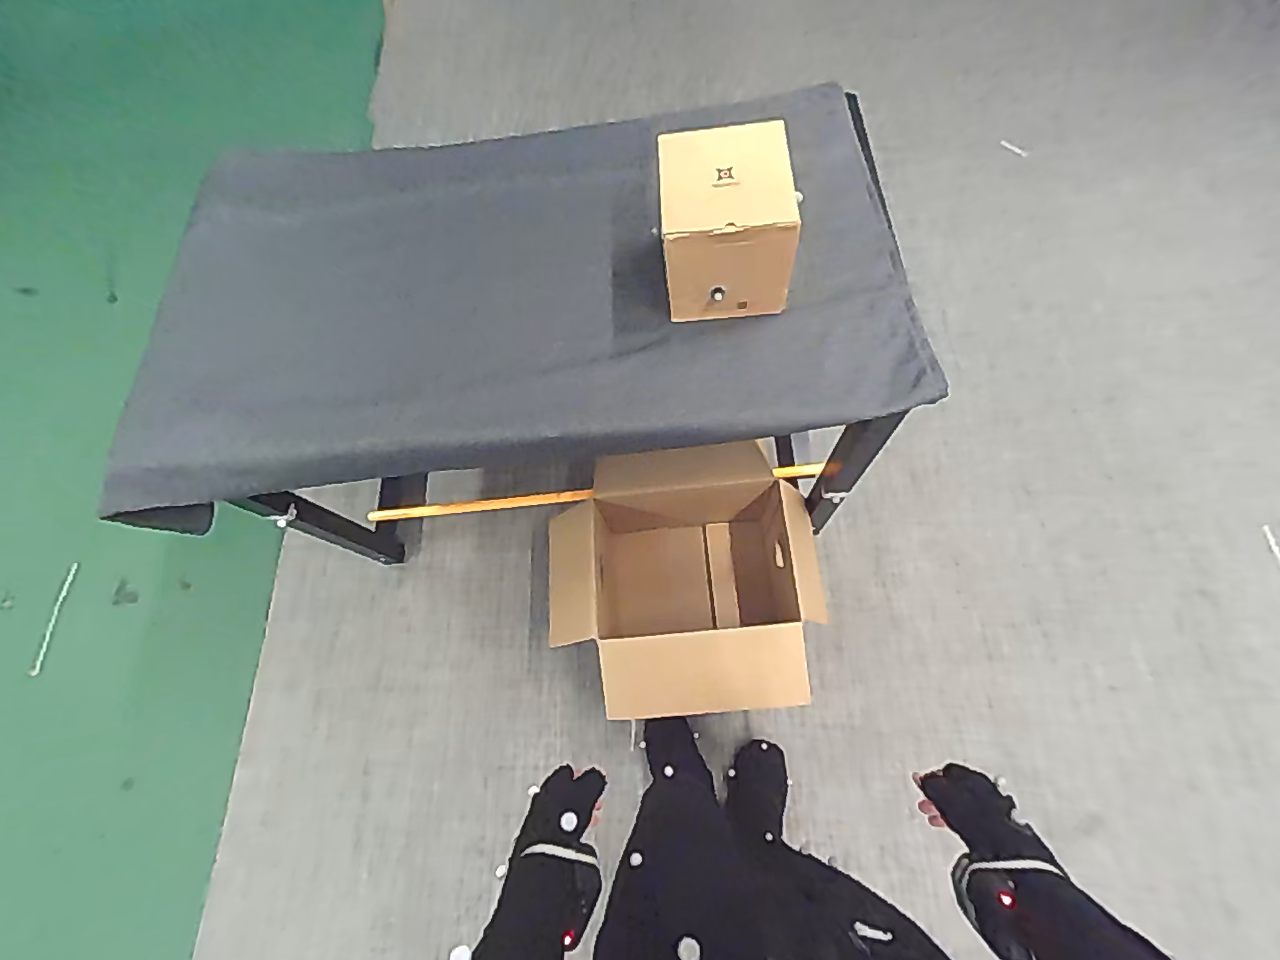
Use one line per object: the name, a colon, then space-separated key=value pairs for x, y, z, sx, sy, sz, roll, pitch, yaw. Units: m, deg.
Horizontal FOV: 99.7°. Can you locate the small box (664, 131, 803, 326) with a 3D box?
small box: x=0.120 y=-0.340 z=0.752 sx=0.168 sy=0.176 sz=0.179 roll=-4 pitch=68 yaw=6
